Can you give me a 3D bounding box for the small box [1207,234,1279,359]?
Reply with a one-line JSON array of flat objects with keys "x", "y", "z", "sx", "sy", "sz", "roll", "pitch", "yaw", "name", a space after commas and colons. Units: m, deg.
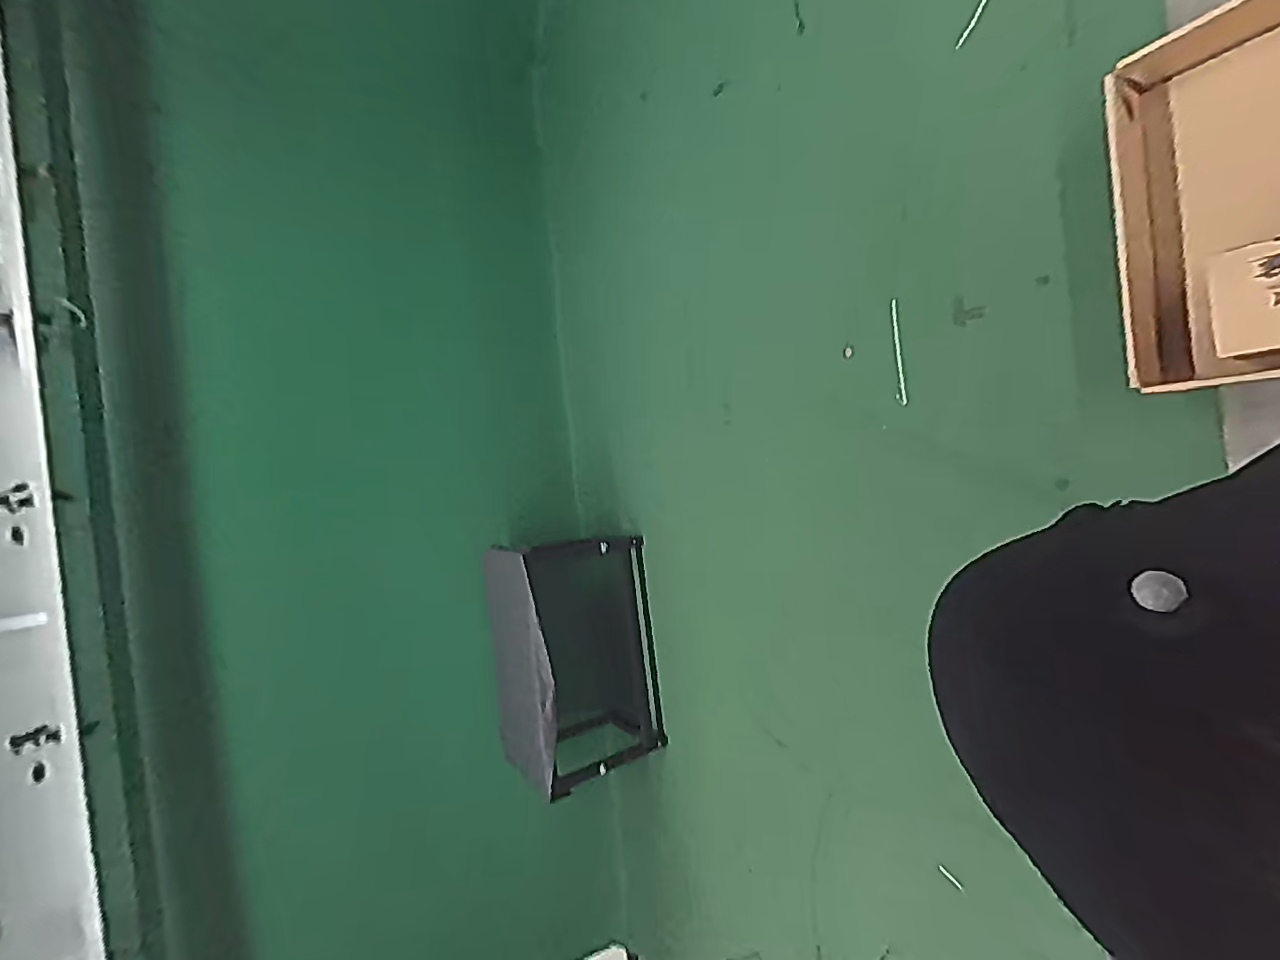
[{"x": 1.066, "y": -0.302, "z": 0.879, "sx": 0.168, "sy": 0.176, "sz": 0.179, "roll": -6, "pitch": 91, "yaw": 58, "name": "small box"}]
